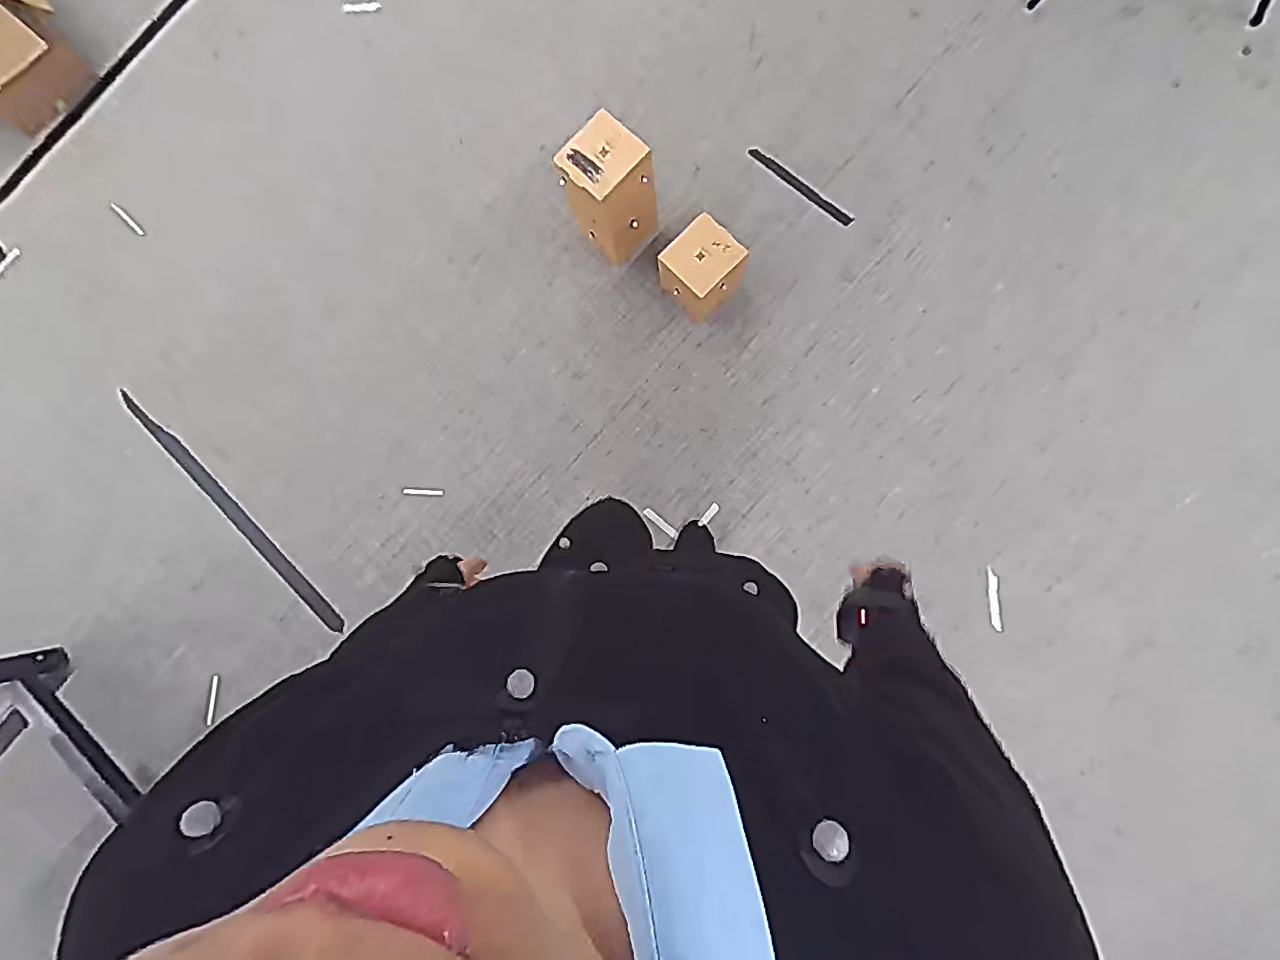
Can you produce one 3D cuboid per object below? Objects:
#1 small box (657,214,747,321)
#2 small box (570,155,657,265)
[{"bbox_3d":[0.168,-0.567,1.470,0.179,0.176,0.168,-44,83,0],"label":"small box"},{"bbox_3d":[-0.068,-0.748,1.512,0.179,0.176,0.168,-45,82,0],"label":"small box"}]
